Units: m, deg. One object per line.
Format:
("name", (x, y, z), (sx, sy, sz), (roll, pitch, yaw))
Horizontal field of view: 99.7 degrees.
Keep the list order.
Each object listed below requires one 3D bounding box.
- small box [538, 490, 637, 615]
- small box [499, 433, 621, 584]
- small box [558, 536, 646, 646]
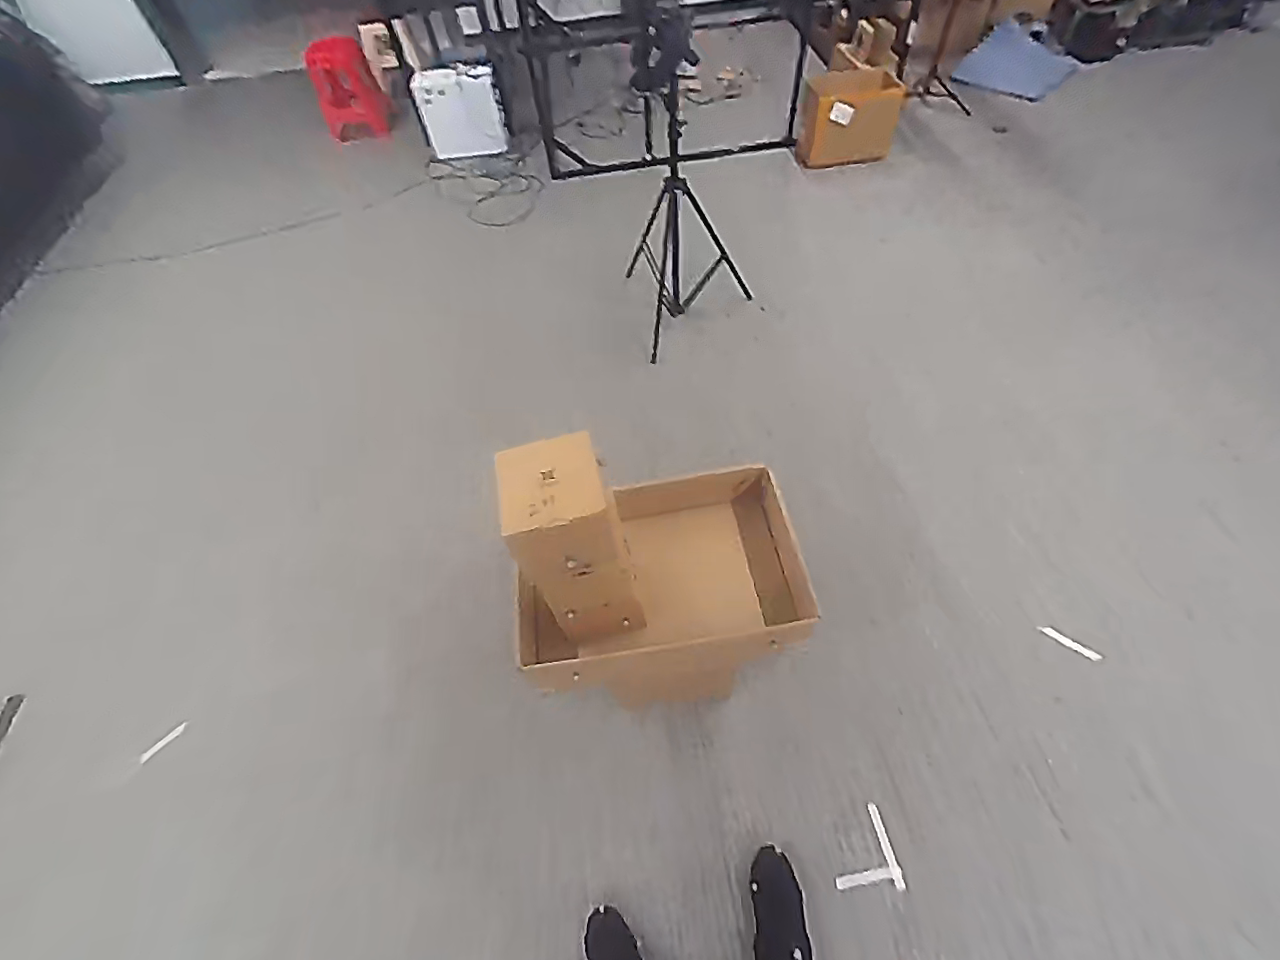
("small box", (-0.105, 0.150, 1.060), (0.168, 0.176, 0.179), (-12, 53, -2))
("small box", (-0.135, 0.051, 0.930), (0.168, 0.176, 0.179), (-14, 53, -3))
("small box", (-0.086, 0.247, 1.190), (0.179, 0.176, 0.168), (-14, 55, -2))
